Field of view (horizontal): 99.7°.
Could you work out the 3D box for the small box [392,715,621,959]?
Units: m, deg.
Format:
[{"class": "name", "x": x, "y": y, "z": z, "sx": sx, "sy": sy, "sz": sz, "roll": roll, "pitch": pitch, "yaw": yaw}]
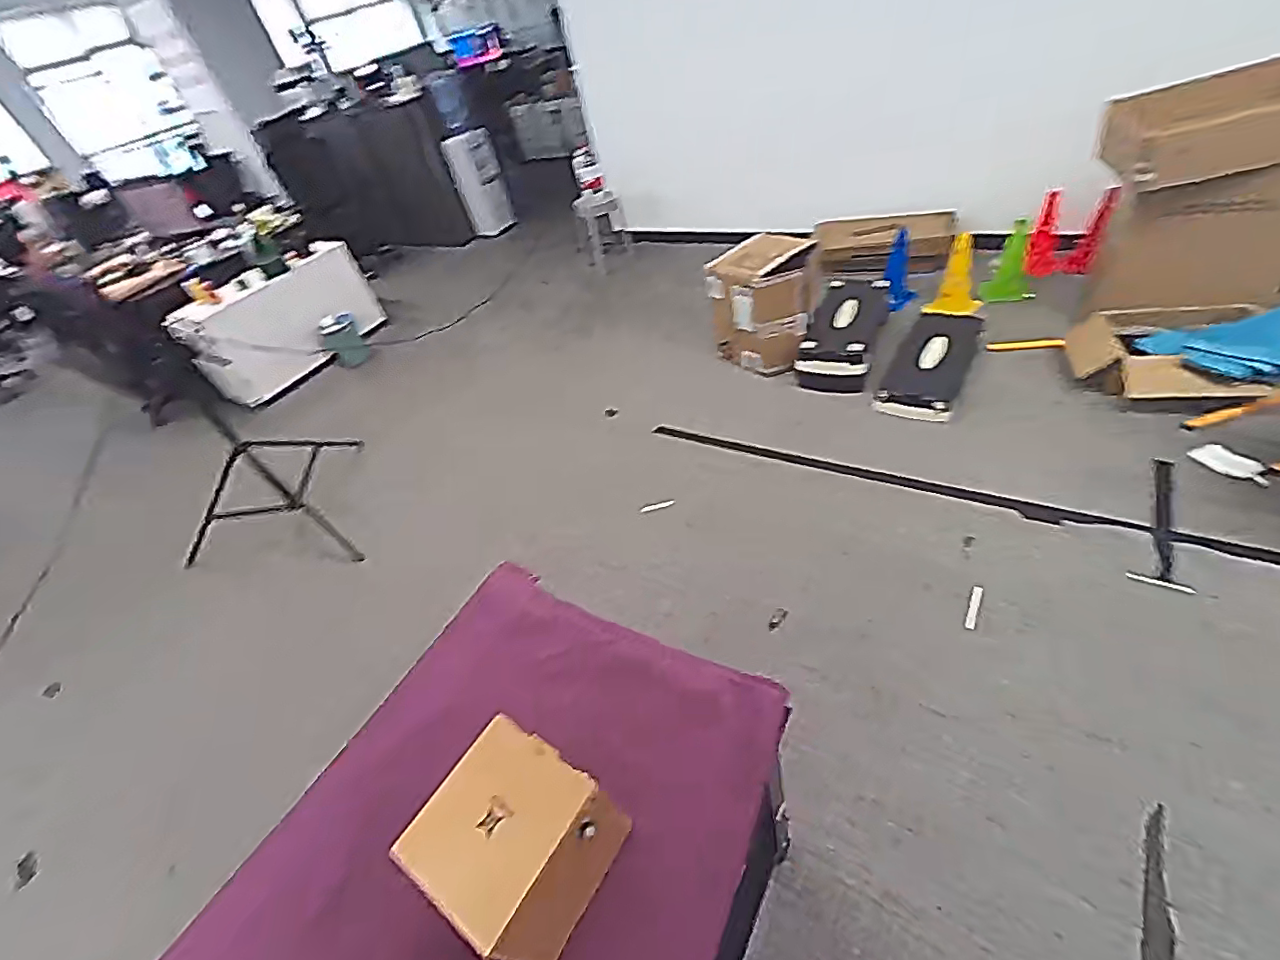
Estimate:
[{"class": "small box", "x": -0.144, "y": 0.428, "z": 0.644, "sx": 0.168, "sy": 0.176, "sz": 0.179, "roll": 17, "pitch": 51, "yaw": 33}]
